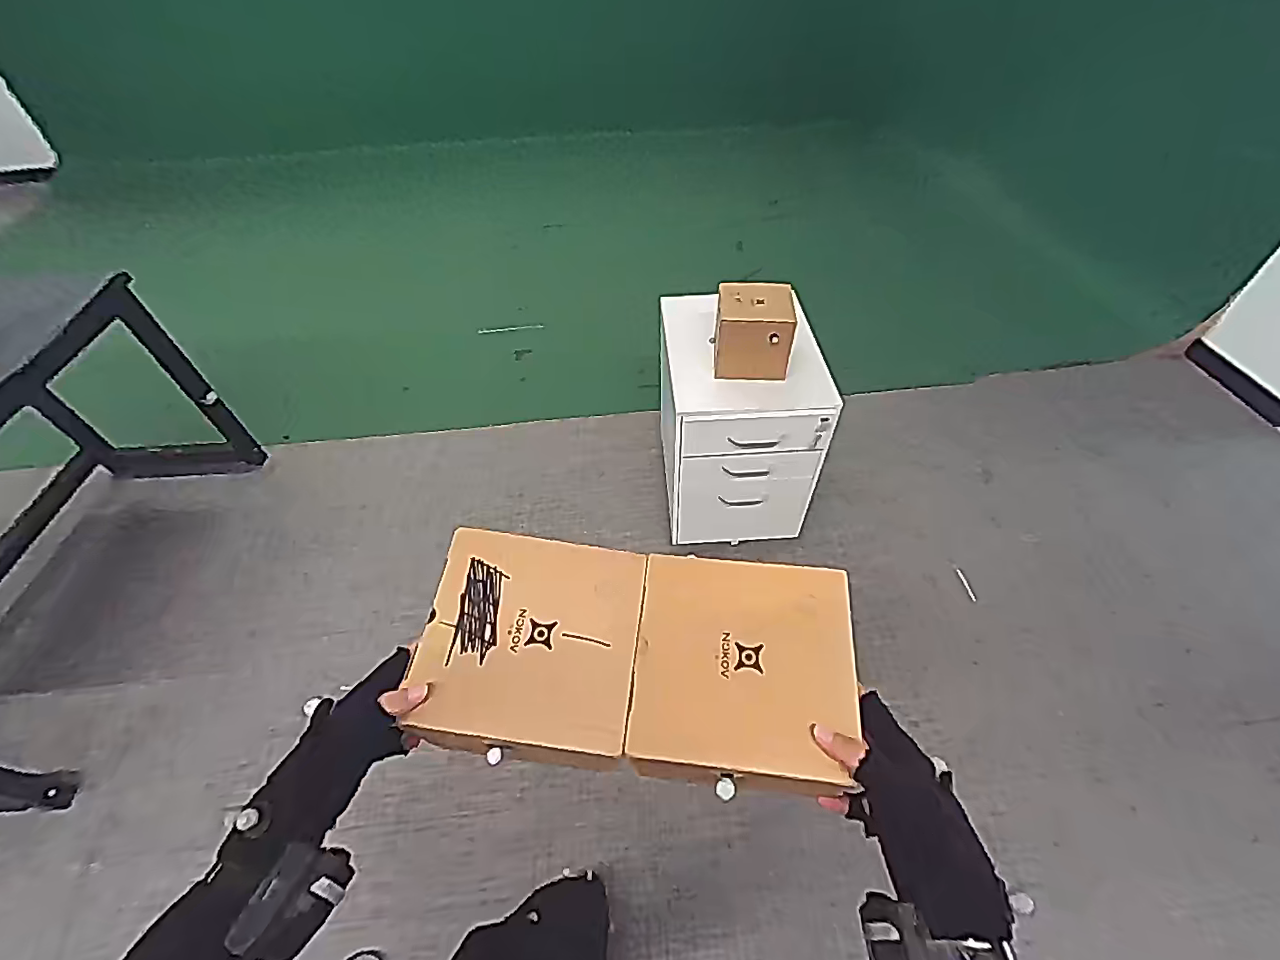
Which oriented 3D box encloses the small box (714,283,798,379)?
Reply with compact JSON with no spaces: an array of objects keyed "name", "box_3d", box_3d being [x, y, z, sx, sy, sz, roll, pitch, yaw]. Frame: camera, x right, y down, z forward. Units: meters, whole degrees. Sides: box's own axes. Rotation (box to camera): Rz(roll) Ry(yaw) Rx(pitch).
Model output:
[{"name":"small box","box_3d":[0.276,-0.362,1.325,0.179,0.176,0.168,2,49,5]}]
